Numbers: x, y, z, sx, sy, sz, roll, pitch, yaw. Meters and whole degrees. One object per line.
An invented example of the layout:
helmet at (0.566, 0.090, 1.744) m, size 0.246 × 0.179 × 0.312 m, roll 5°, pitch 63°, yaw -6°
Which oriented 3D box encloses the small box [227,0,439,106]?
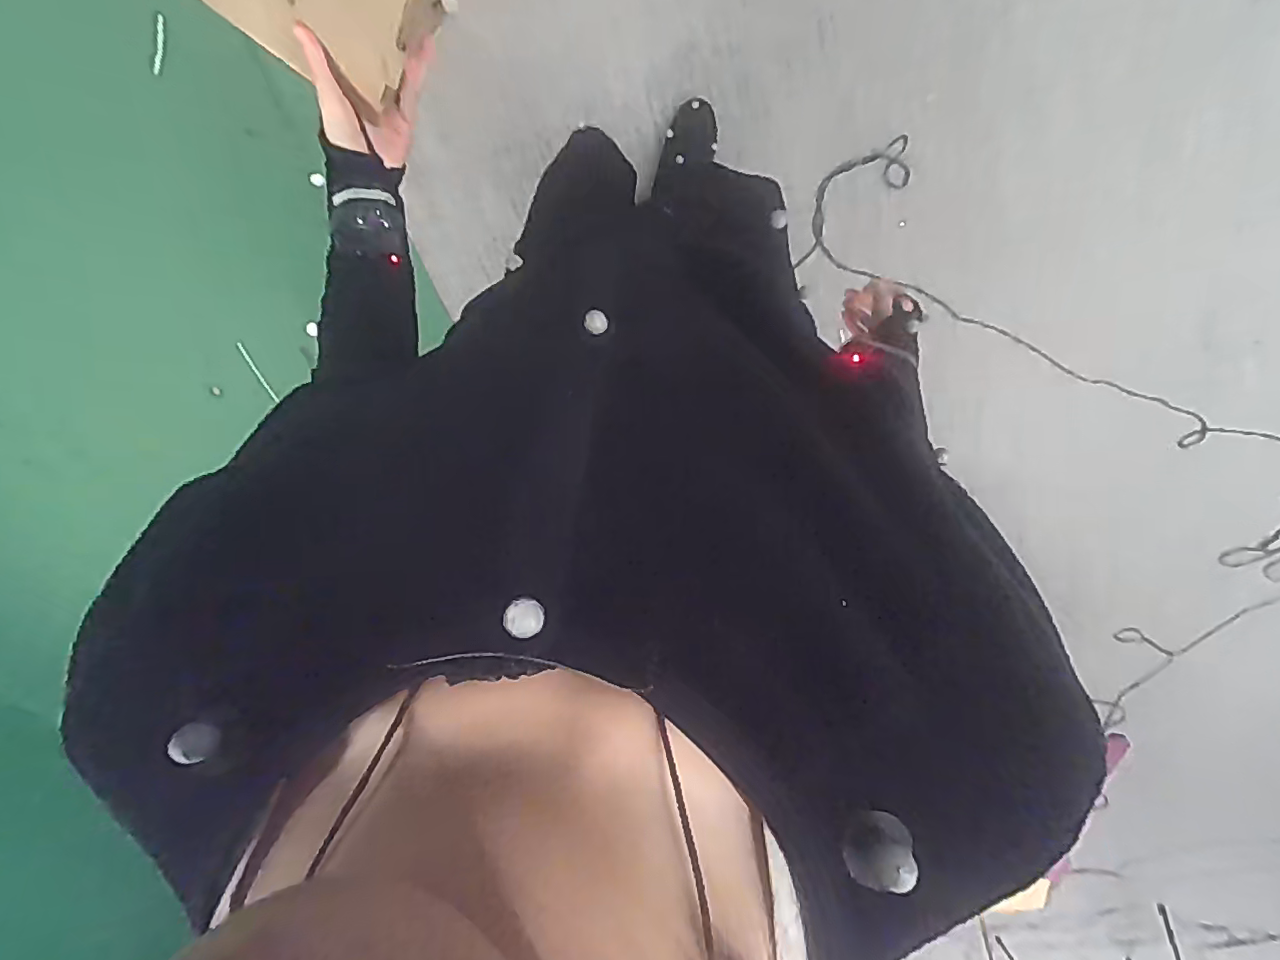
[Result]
small box at (-0.236, -0.455, 0.412) m, size 0.179 × 0.176 × 0.168 m, roll 29°, pitch 160°, yaw -30°
